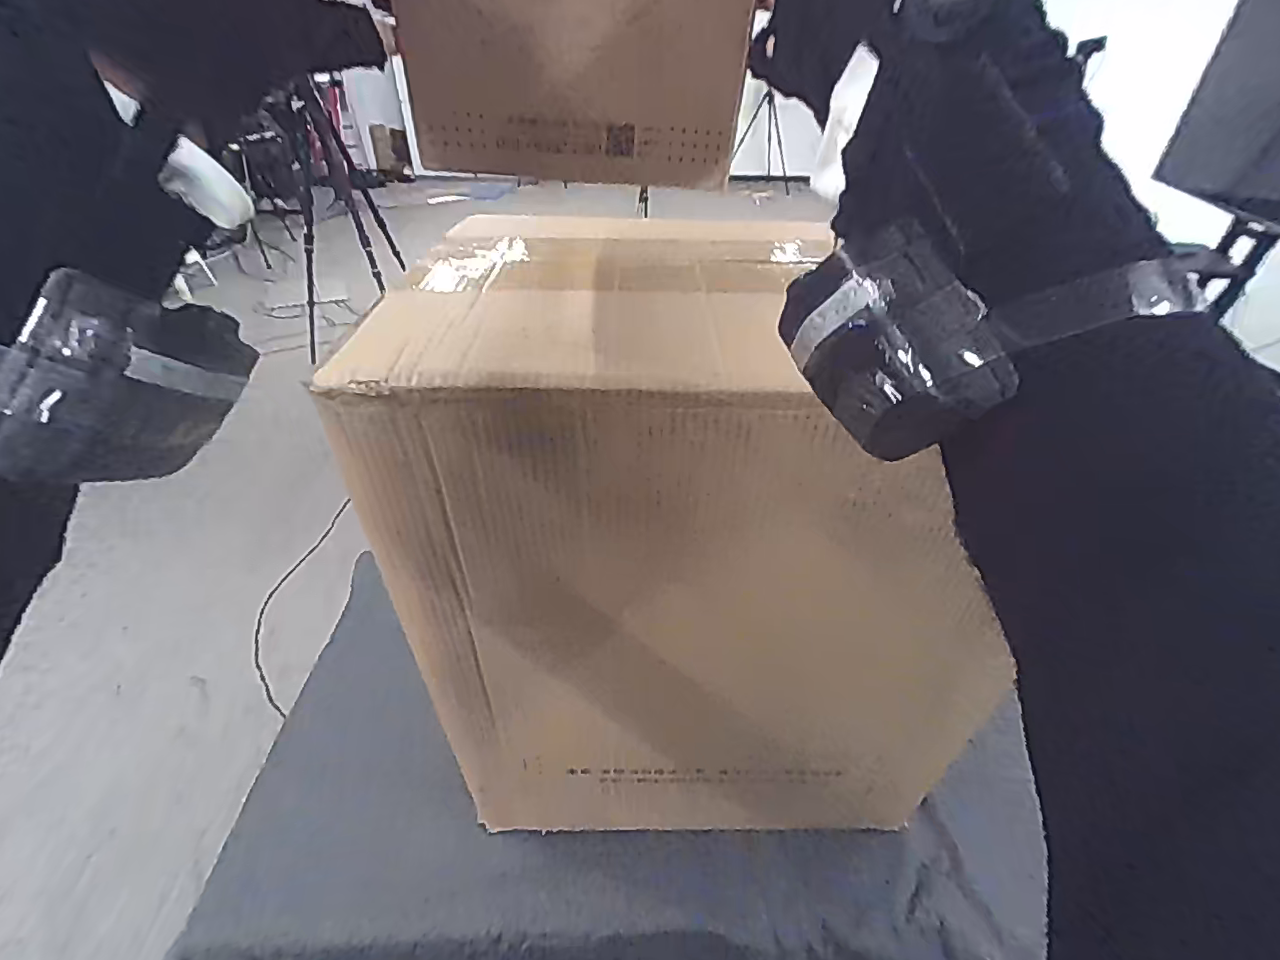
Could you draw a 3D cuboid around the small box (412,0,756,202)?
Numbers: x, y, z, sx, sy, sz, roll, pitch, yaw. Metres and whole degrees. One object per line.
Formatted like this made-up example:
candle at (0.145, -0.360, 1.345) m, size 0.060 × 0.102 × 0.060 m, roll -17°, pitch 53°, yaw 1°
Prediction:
small box at (-0.031, -0.277, 0.312) m, size 0.168 × 0.176 × 0.179 m, roll 0°, pitch 40°, yaw -5°
